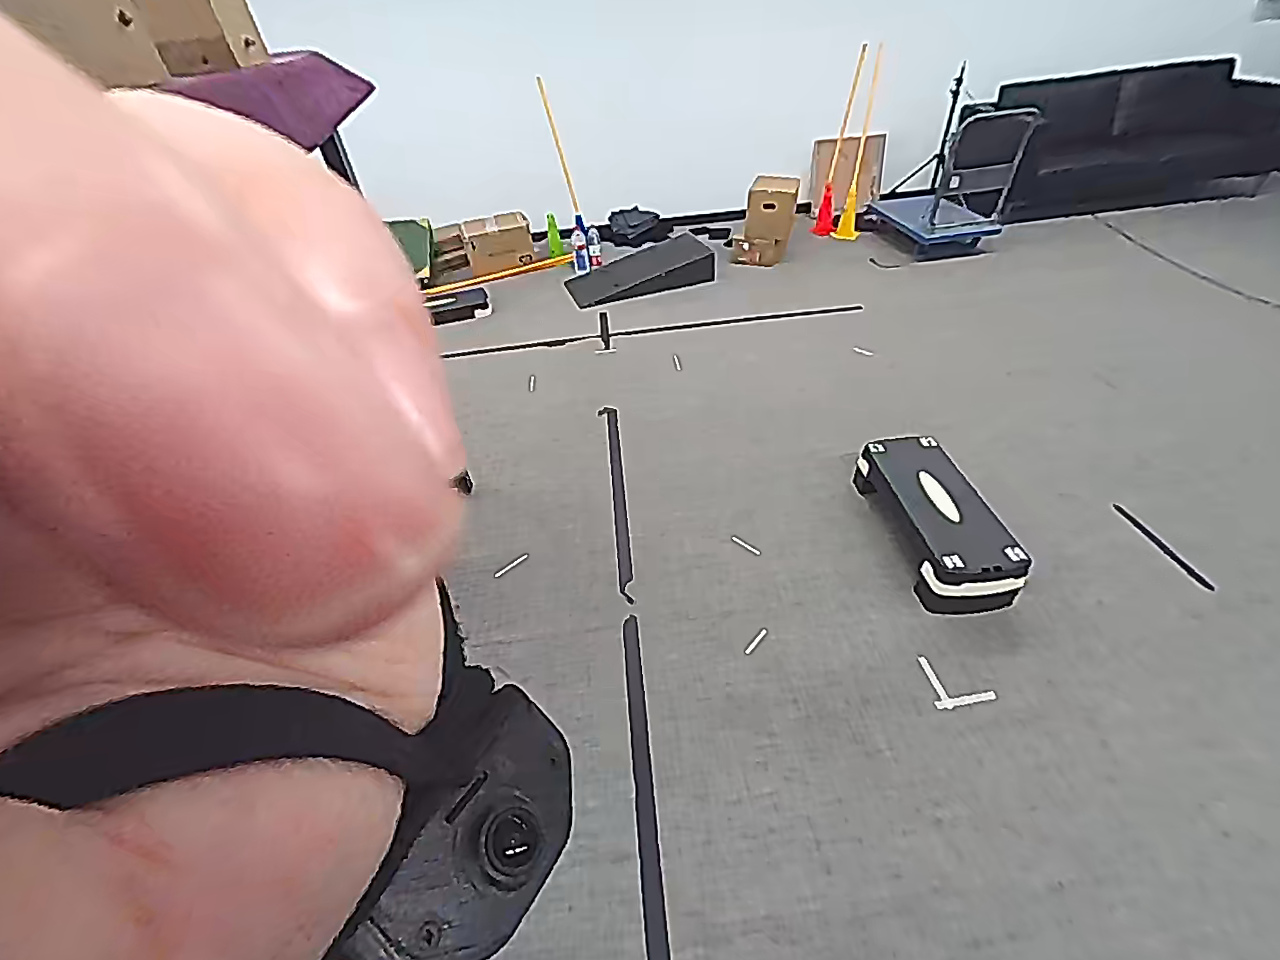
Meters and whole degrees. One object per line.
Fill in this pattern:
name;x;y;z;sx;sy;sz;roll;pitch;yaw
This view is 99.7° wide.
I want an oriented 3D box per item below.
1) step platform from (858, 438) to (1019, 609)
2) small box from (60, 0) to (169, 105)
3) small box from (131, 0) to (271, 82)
step platform;1.016;0.117;1.908;0.286;0.204;0.684;-3;40;3
small box;-0.926;-0.714;0.872;0.168;0.176;0.179;-7;42;0
small box;-0.928;-0.957;1.146;0.168;0.176;0.179;-8;41;-2
